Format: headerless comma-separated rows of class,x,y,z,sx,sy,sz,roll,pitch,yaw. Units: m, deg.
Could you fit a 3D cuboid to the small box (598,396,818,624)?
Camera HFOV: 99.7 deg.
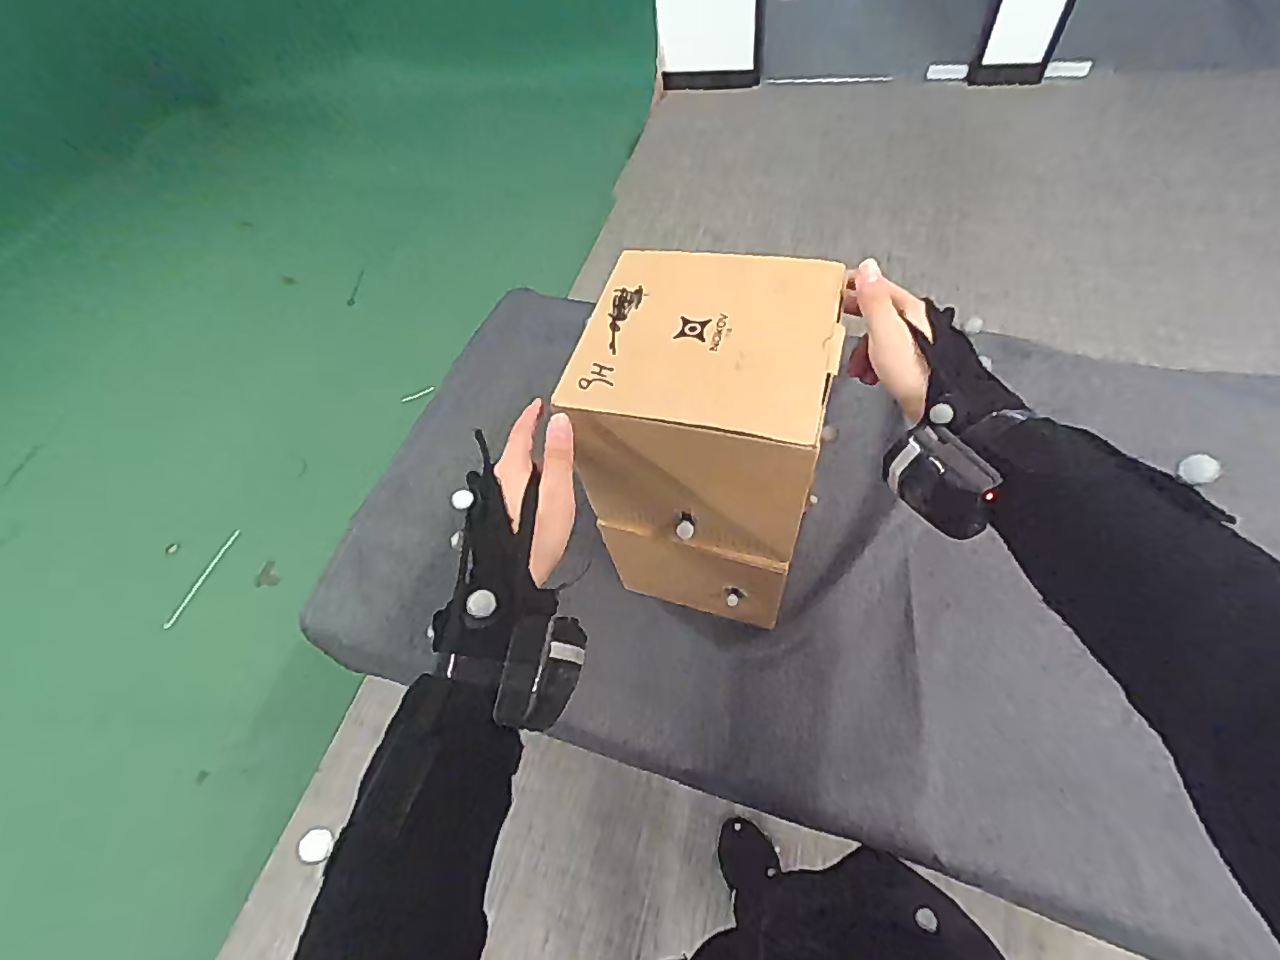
small box,0.078,0.038,0.578,0.179,0.176,0.168,12,59,16
